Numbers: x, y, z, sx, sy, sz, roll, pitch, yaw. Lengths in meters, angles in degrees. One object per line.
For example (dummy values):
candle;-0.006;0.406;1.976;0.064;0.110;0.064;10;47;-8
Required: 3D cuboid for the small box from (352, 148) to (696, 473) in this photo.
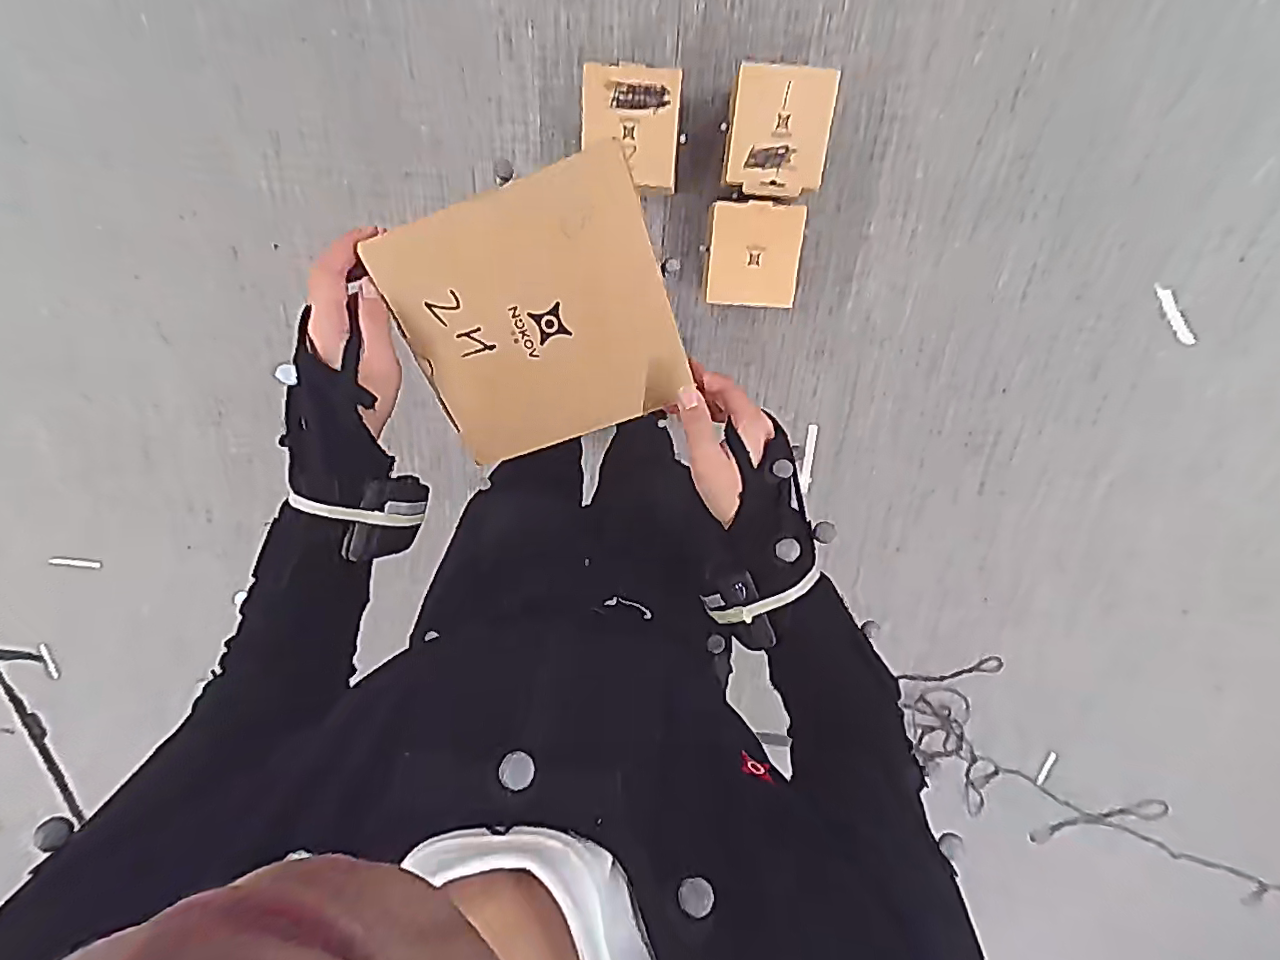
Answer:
small box;-0.069;-0.135;0.417;0.179;0.176;0.168;-17;118;9
